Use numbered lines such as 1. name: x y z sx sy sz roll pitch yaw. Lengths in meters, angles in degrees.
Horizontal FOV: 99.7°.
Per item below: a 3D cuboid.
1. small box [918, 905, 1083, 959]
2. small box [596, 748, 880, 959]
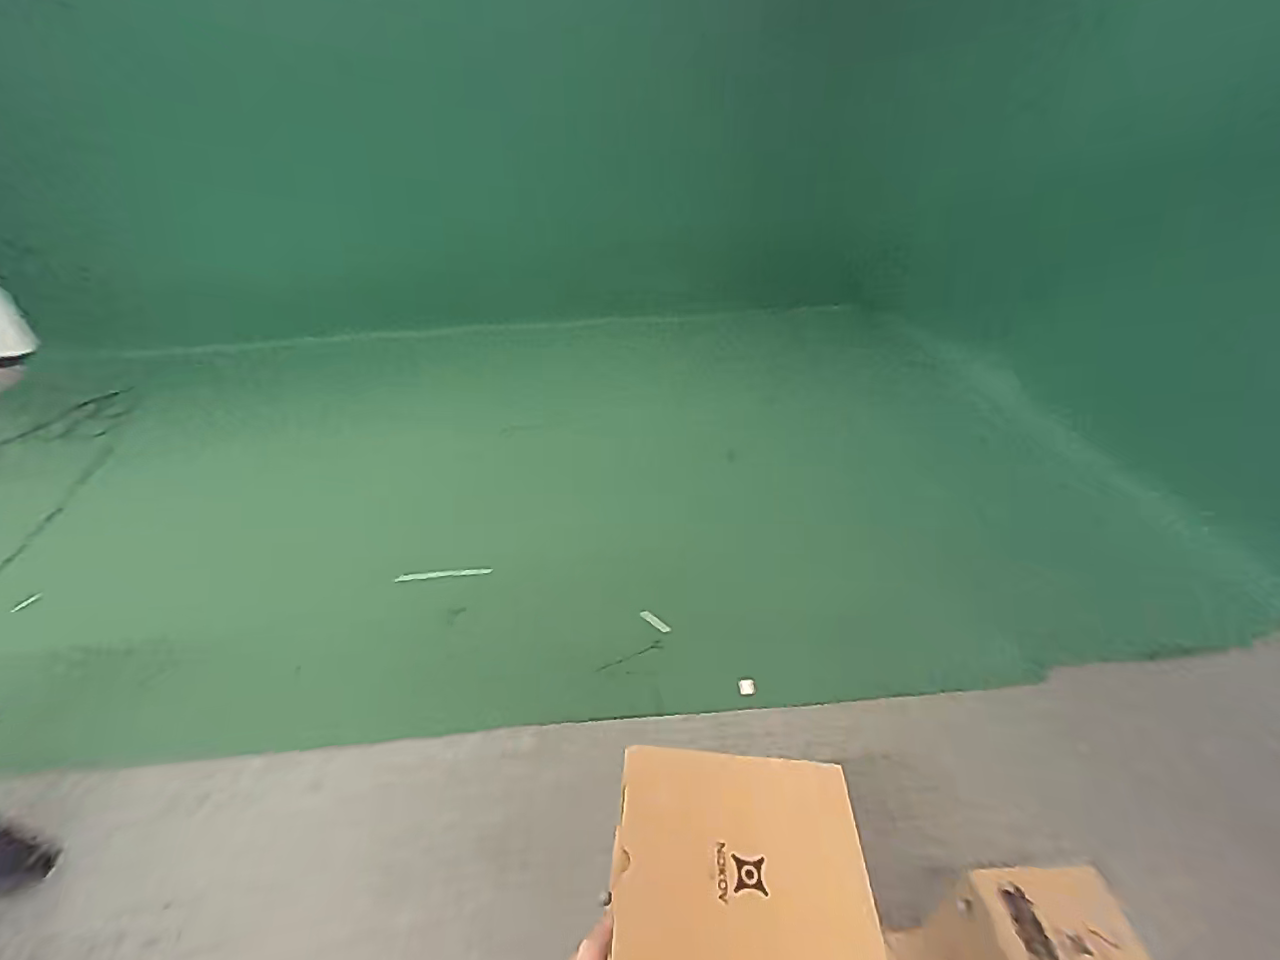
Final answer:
1. small box: 0.556 0.772 0.815 0.179 0.176 0.168 1 37 2
2. small box: 0.058 0.331 0.408 0.179 0.176 0.168 3 35 1
